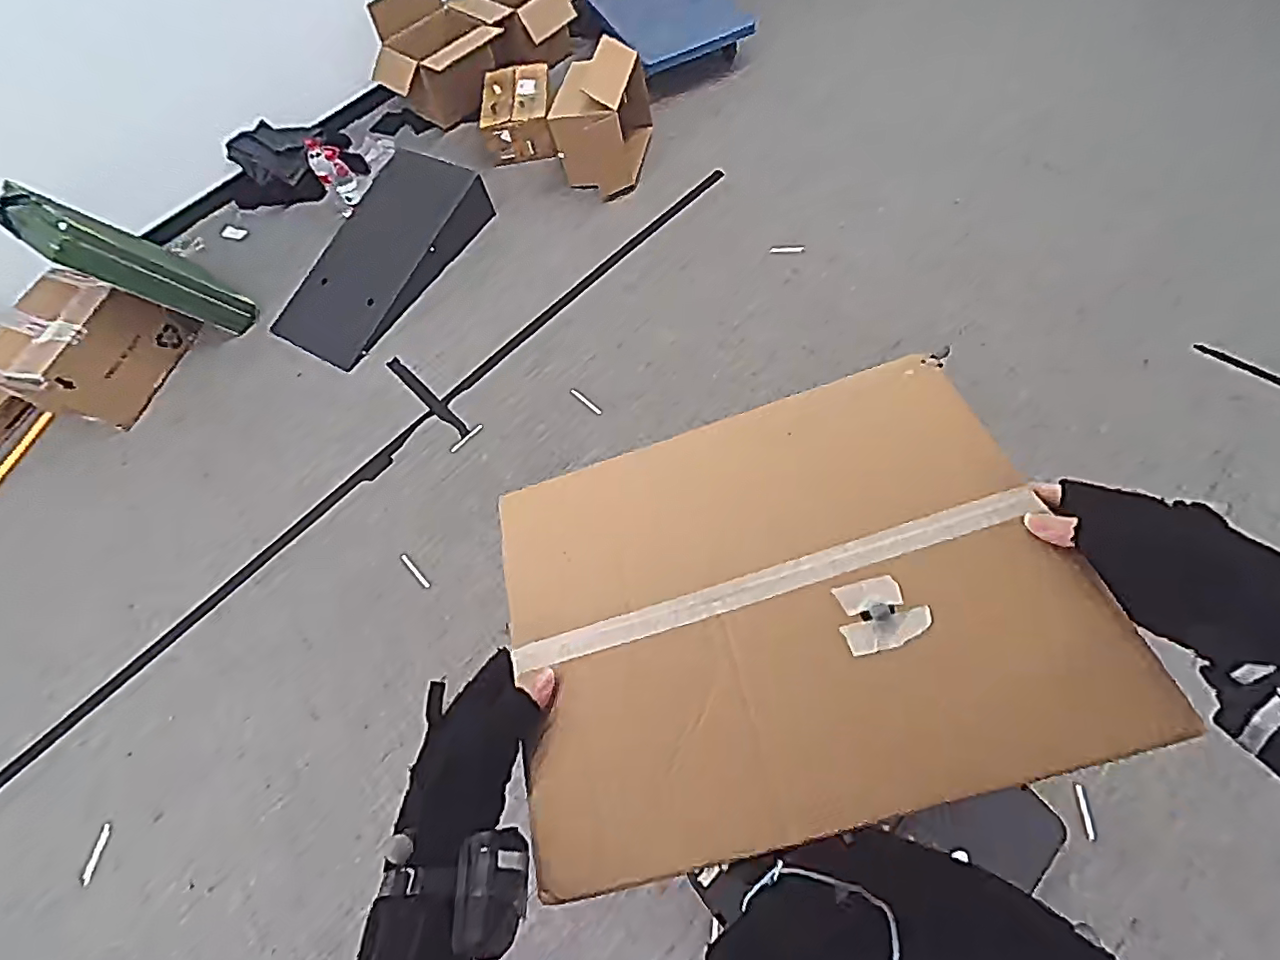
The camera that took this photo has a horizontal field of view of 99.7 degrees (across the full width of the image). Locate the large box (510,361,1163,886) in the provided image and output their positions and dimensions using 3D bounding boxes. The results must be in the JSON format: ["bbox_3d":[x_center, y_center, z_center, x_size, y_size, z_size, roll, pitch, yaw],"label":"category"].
[{"bbox_3d":[0.130,0.153,0.543,0.408,0.320,0.320,-19,58,5],"label":"large box"}]

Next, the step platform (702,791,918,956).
[{"bbox_3d":[0.445,0.693,1.265,0.286,0.204,0.684,38,74,23],"label":"step platform"}]
